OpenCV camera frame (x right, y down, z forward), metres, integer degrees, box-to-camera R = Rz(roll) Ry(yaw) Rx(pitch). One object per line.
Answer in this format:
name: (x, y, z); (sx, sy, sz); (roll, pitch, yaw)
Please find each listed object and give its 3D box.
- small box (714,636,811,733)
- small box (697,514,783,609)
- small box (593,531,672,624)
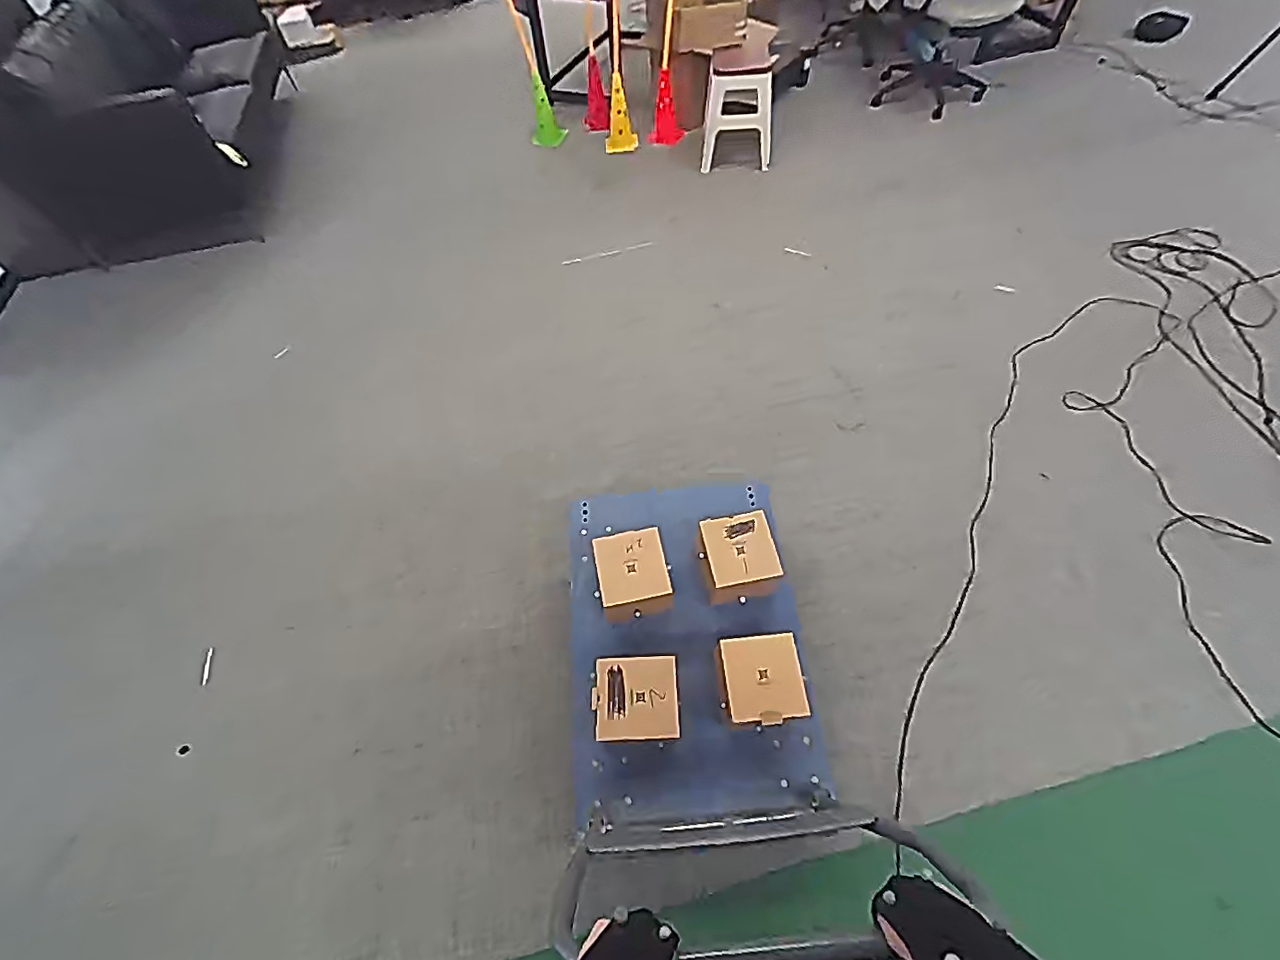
small box: (0.269, 0.468, 1.232); (0.168, 0.176, 0.179); (-5, 61, -2)
small box: (0.245, 0.210, 1.375); (0.168, 0.176, 0.179); (-10, 62, -3)
small box: (-0.018, 0.251, 1.359); (0.168, 0.176, 0.179); (-10, 61, -5)
